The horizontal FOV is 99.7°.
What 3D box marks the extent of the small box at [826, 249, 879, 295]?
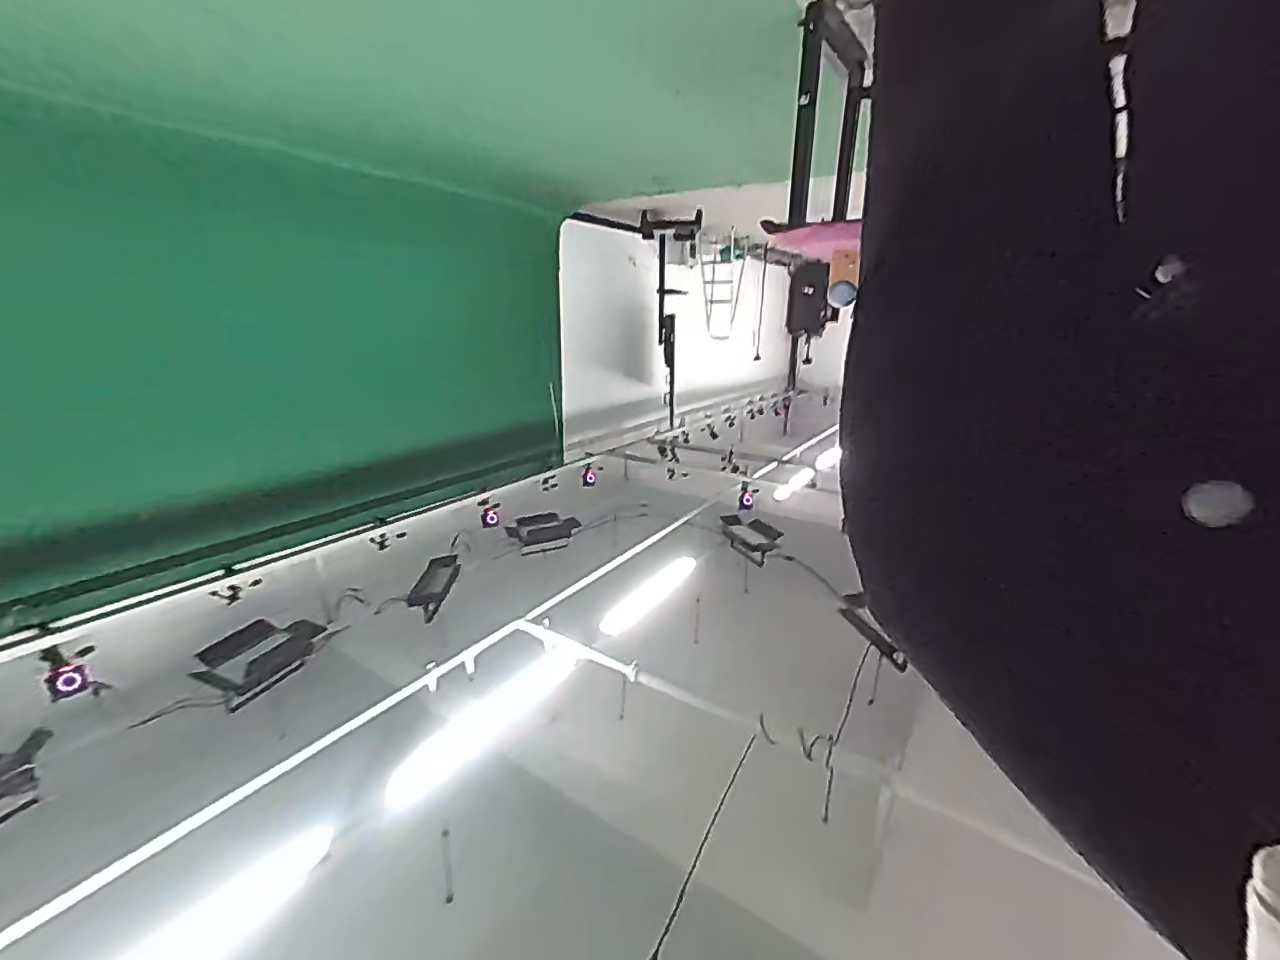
[{"bbox_3d":[0.878,-0.855,2.231,0.168,0.176,0.179,10,-161,31],"label":"small box"}]
